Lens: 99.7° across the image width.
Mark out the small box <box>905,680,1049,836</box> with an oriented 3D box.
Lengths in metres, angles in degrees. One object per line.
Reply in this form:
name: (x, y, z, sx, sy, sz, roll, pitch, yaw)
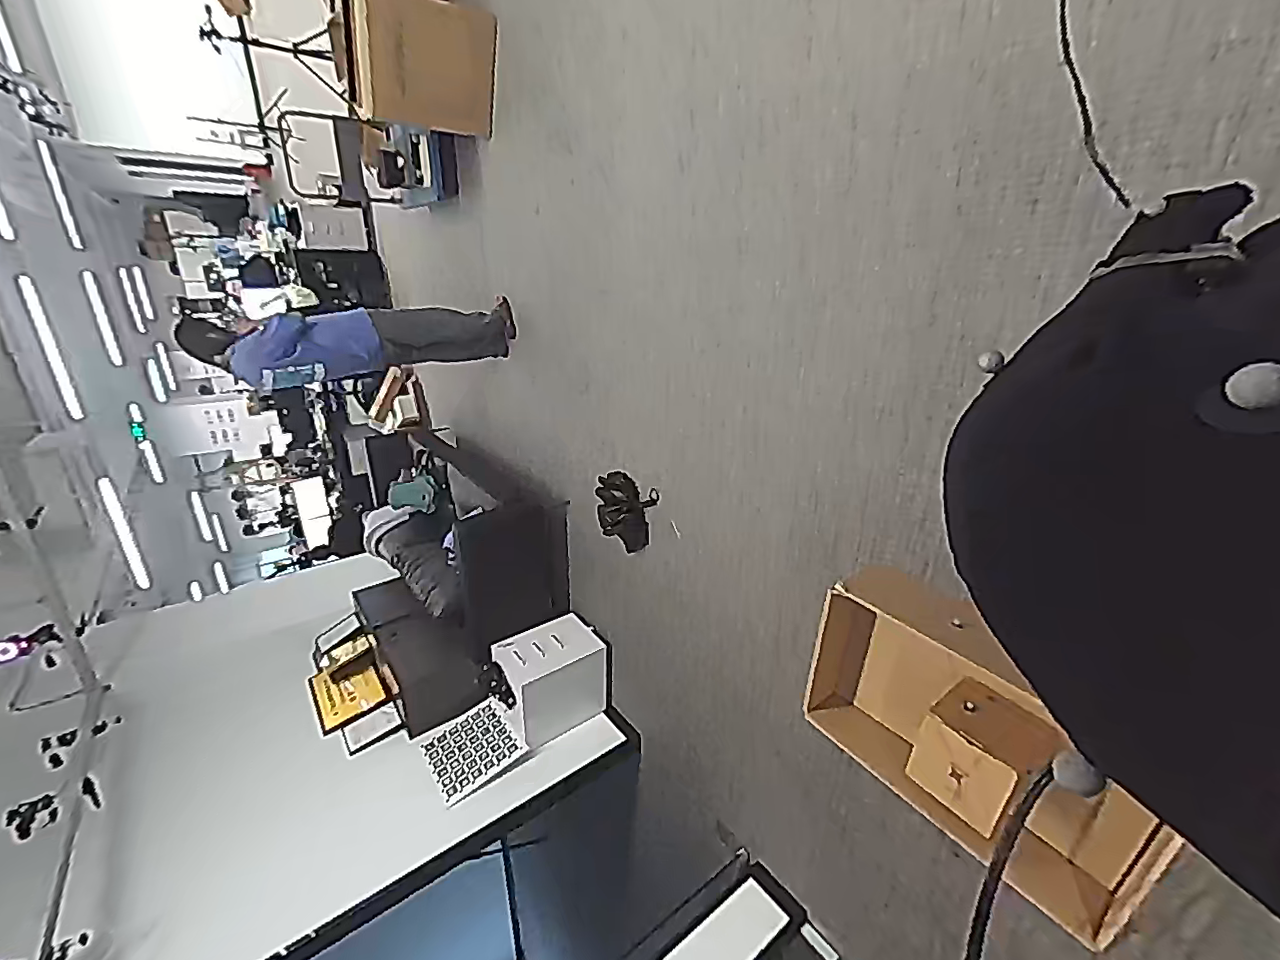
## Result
small box: (0.654, 0.528, 1.052, 0.168, 0.176, 0.179, 31, 129, 48)
